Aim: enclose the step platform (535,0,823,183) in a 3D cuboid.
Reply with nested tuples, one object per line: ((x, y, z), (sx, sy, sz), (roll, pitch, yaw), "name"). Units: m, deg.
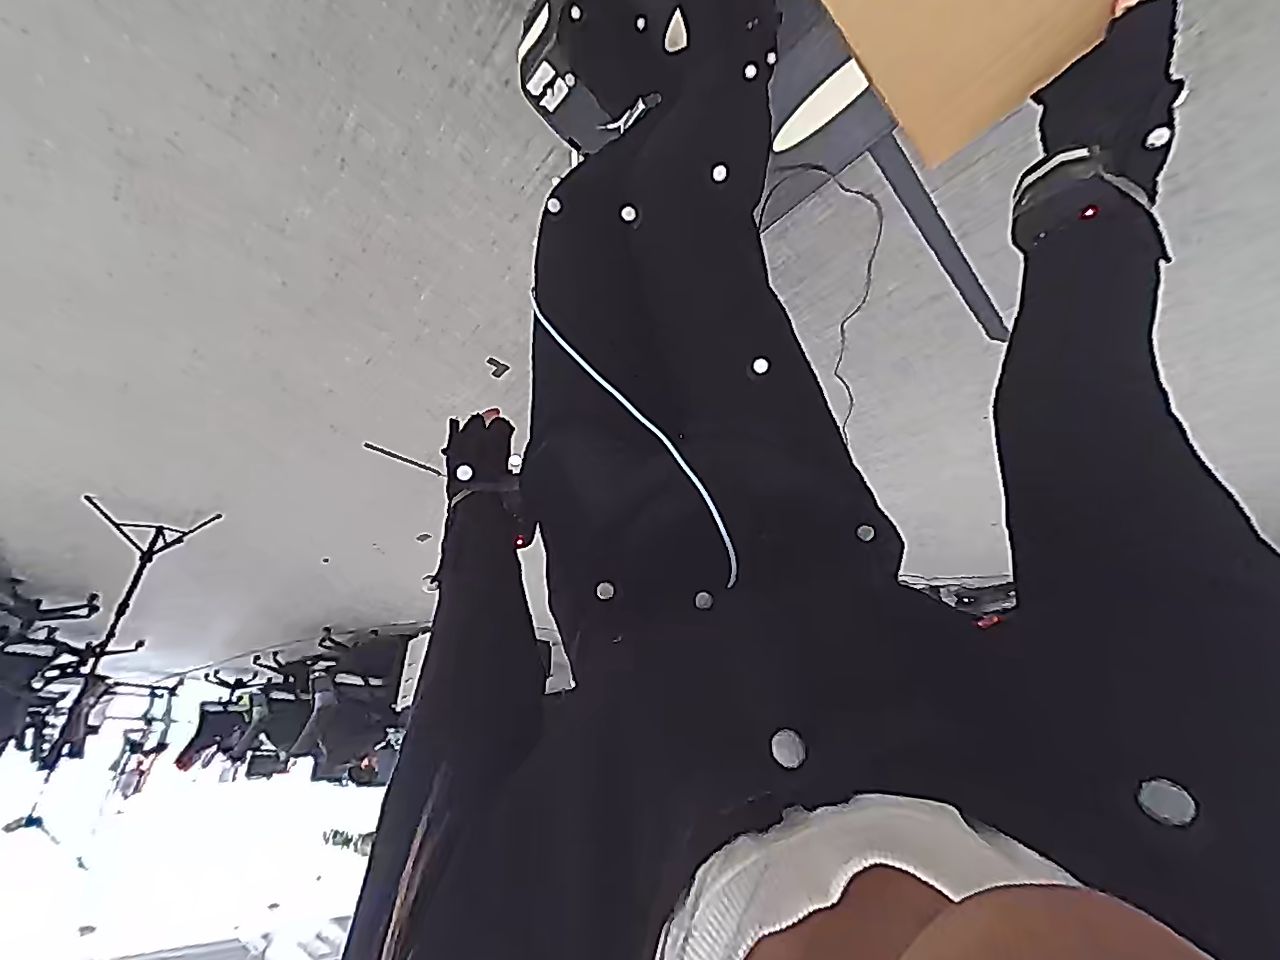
((0.143, -0.764, 0.740), (0.286, 0.204, 0.684), (23, 142, -36), "step platform")
